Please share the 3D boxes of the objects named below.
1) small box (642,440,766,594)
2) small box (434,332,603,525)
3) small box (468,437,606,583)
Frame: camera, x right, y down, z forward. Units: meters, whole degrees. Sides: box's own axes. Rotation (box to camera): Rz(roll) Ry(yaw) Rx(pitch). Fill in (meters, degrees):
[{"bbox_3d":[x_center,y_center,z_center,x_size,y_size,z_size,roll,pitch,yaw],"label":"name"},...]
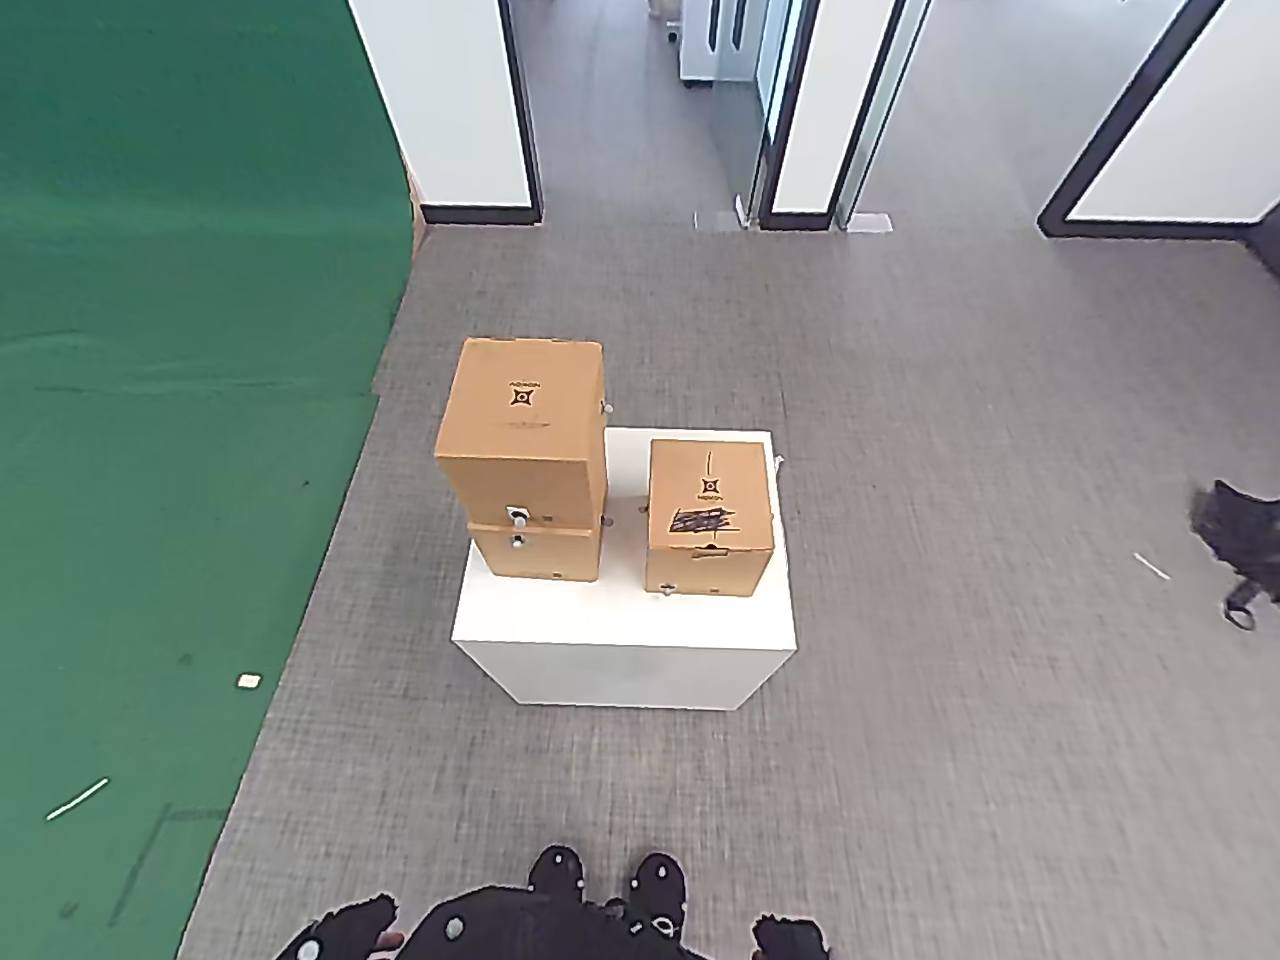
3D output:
[{"bbox_3d":[0.089,0.061,0.814,0.168,0.176,0.179,3,57,1],"label":"small box"},{"bbox_3d":[-0.135,-0.061,0.678,0.168,0.176,0.179,2,59,0],"label":"small box"},{"bbox_3d":[-0.143,0.040,0.825,0.168,0.176,0.179,3,57,2],"label":"small box"}]
